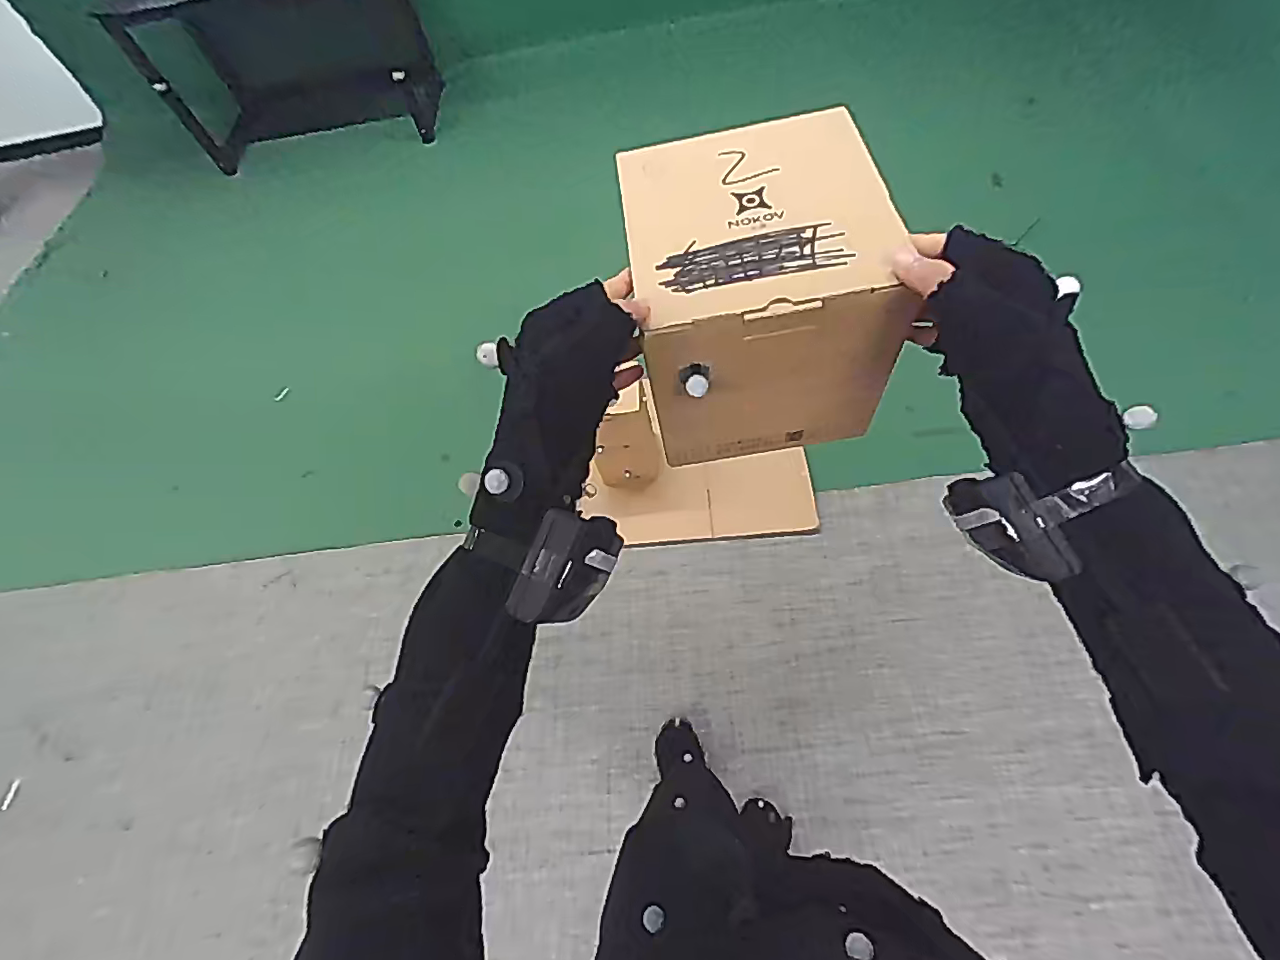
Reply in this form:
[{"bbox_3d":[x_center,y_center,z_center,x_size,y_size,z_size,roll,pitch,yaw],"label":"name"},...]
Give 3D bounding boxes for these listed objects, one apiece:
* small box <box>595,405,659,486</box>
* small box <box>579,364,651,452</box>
[{"bbox_3d":[-0.037,-0.104,1.619,0.168,0.176,0.179,-7,59,7],"label":"small box"},{"bbox_3d":[-0.064,-0.188,1.480,0.168,0.176,0.179,-6,58,7],"label":"small box"}]
